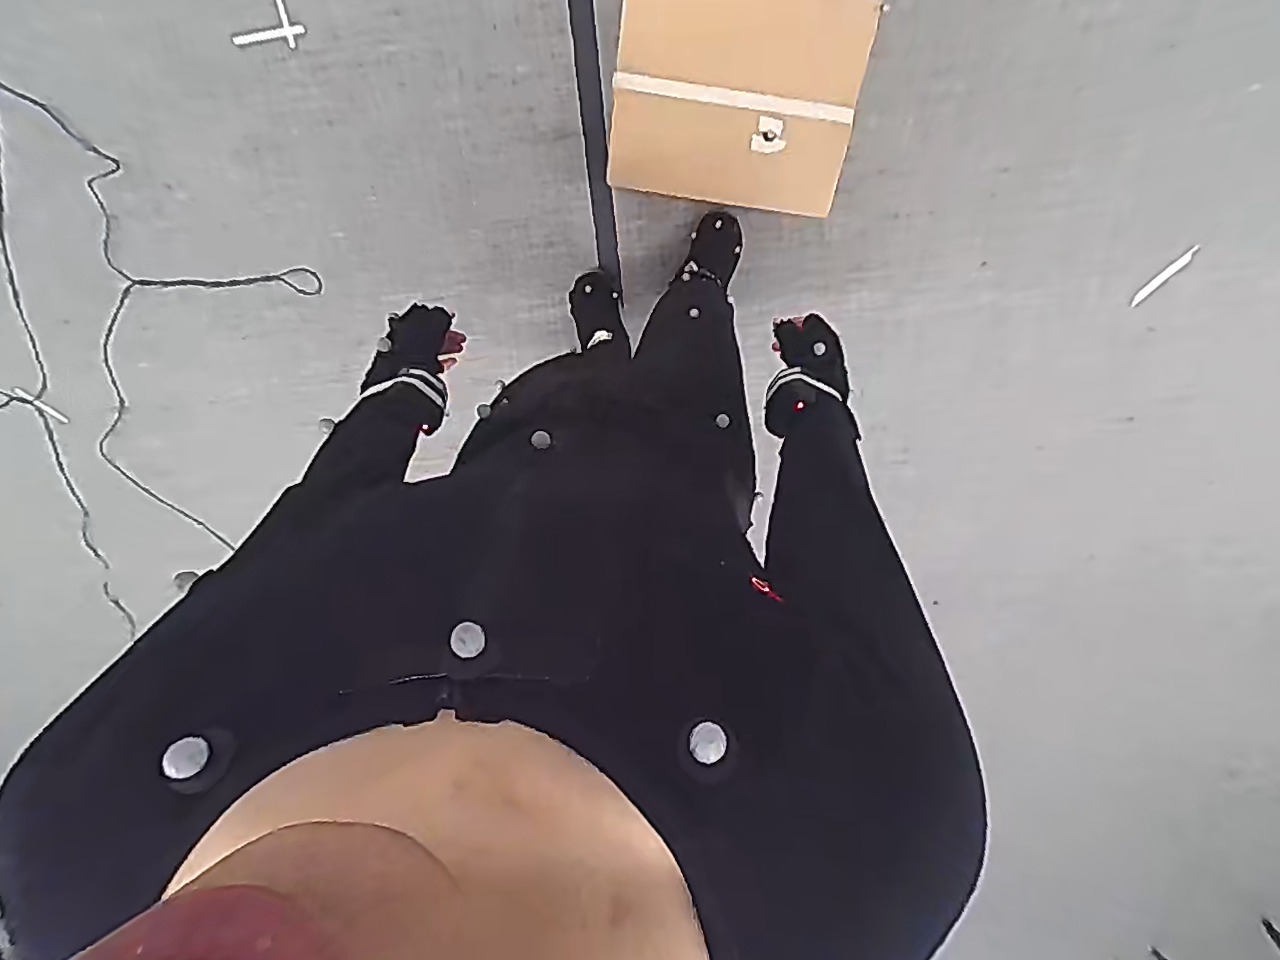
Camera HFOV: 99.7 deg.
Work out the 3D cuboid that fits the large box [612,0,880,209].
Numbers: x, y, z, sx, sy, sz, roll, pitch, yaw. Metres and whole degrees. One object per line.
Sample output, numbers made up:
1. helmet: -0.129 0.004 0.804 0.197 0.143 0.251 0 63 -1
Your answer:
1. large box: 0.162 -0.714 1.033 0.408 0.320 0.320 7 117 -3
